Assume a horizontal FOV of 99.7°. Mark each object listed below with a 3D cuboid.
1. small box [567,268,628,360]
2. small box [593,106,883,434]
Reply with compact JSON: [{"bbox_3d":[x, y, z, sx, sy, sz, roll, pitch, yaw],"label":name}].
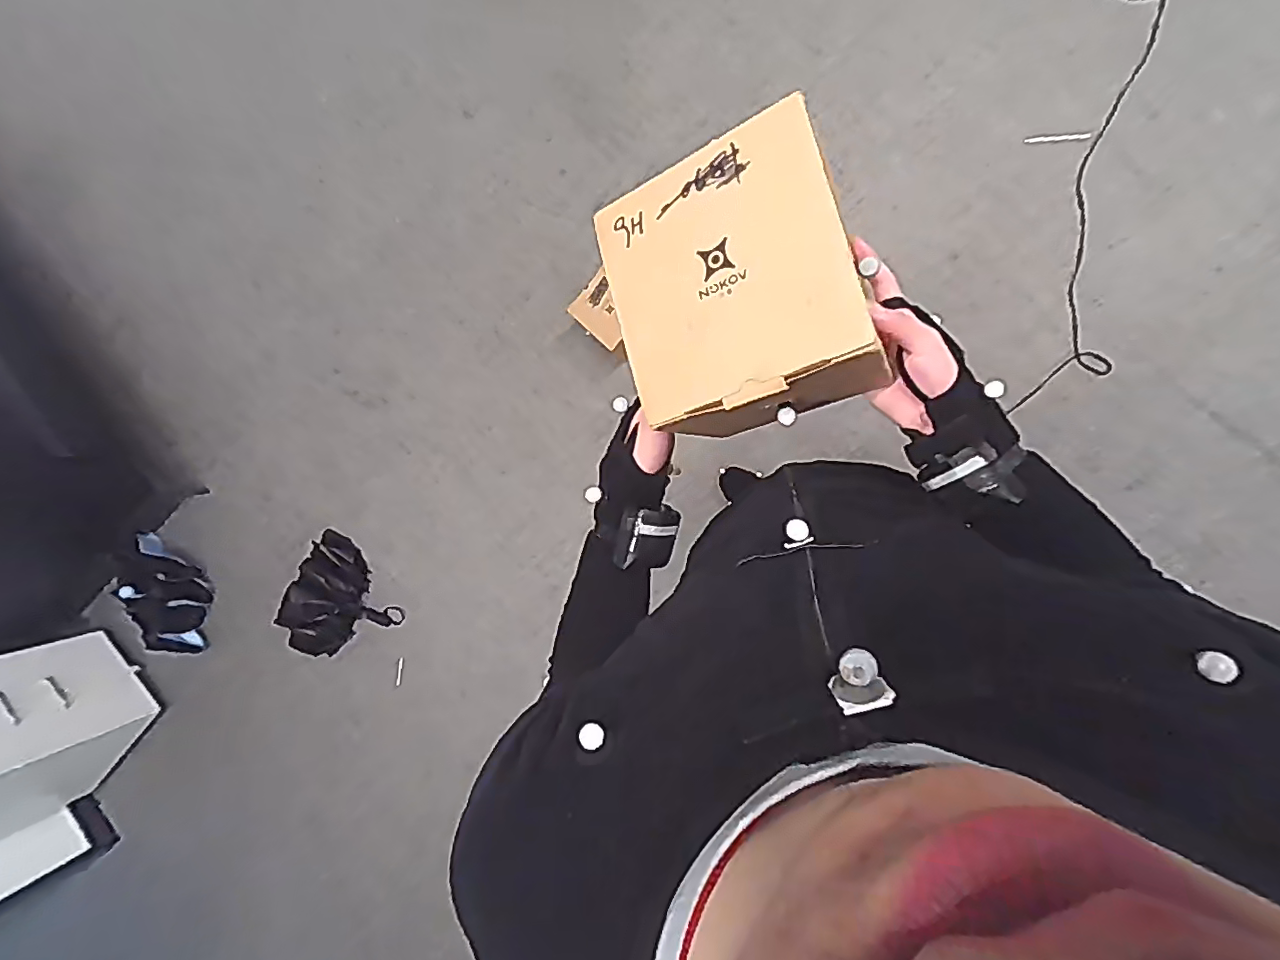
[{"bbox_3d":[-0.070,-0.460,1.532,0.179,0.176,0.168,43,101,8],"label":"small box"},{"bbox_3d":[0.091,-0.144,0.448,0.168,0.176,0.179,-18,84,27],"label":"small box"}]
